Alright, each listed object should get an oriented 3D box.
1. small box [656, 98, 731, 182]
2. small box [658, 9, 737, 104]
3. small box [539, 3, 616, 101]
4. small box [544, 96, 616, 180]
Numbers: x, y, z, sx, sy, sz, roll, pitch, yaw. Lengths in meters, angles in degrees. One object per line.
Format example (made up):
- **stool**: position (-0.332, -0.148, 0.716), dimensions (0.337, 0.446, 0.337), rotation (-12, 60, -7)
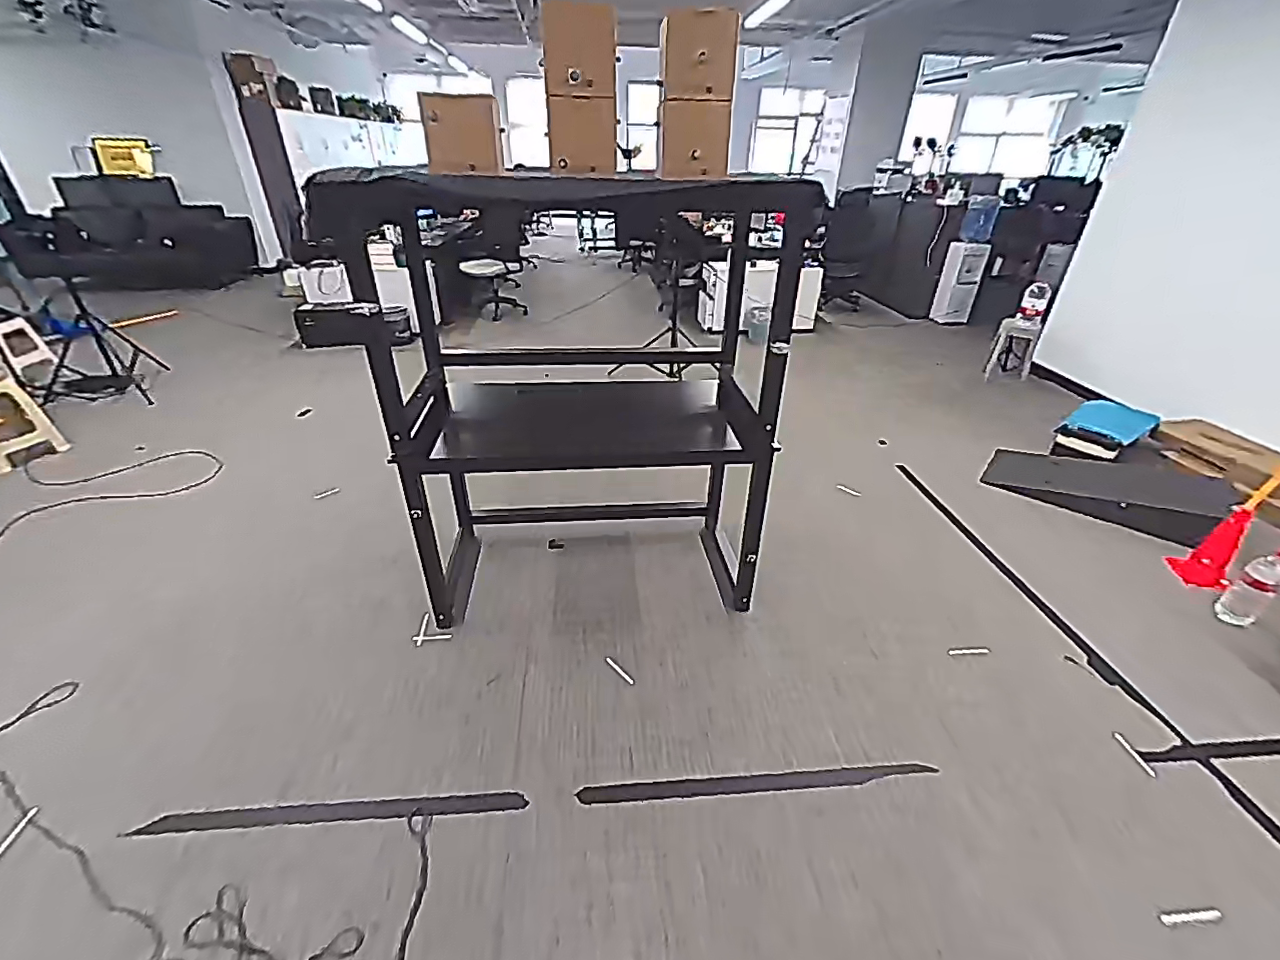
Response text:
- **small box**: position (0.128, -0.861, 1.378), dimensions (0.168, 0.176, 0.179), rotation (-3, 31, -3)
- **small box**: position (0.131, -1.003, 1.295), dimensions (0.168, 0.176, 0.179), rotation (-1, 31, -3)
- **small box**: position (-0.142, -0.992, 1.274), dimensions (0.168, 0.176, 0.179), rotation (-2, 31, -4)
- **small box**: position (-0.145, -0.850, 1.354), dimensions (0.168, 0.176, 0.179), rotation (-2, 29, -5)
